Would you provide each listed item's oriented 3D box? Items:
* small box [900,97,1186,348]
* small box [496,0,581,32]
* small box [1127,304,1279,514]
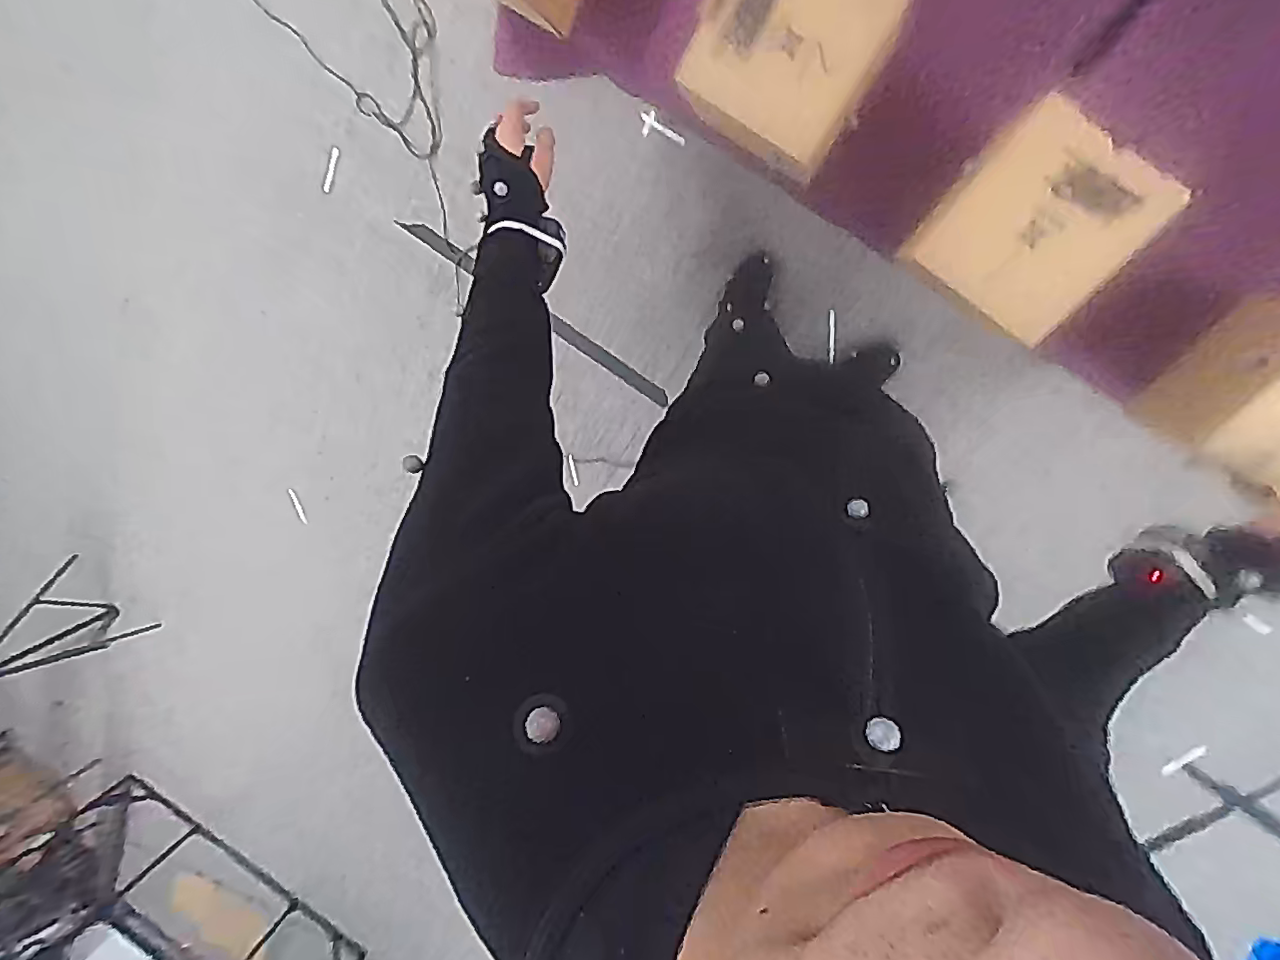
[{"bbox_3d":[0.426,-0.279,0.615,0.168,0.176,0.179,39,117,2],"label":"small box"},{"bbox_3d":[-0.160,-0.692,0.649,0.179,0.176,0.168,32,116,3],"label":"small box"},{"bbox_3d":[0.712,-0.078,0.596,0.168,0.176,0.179,36,117,4],"label":"small box"}]
